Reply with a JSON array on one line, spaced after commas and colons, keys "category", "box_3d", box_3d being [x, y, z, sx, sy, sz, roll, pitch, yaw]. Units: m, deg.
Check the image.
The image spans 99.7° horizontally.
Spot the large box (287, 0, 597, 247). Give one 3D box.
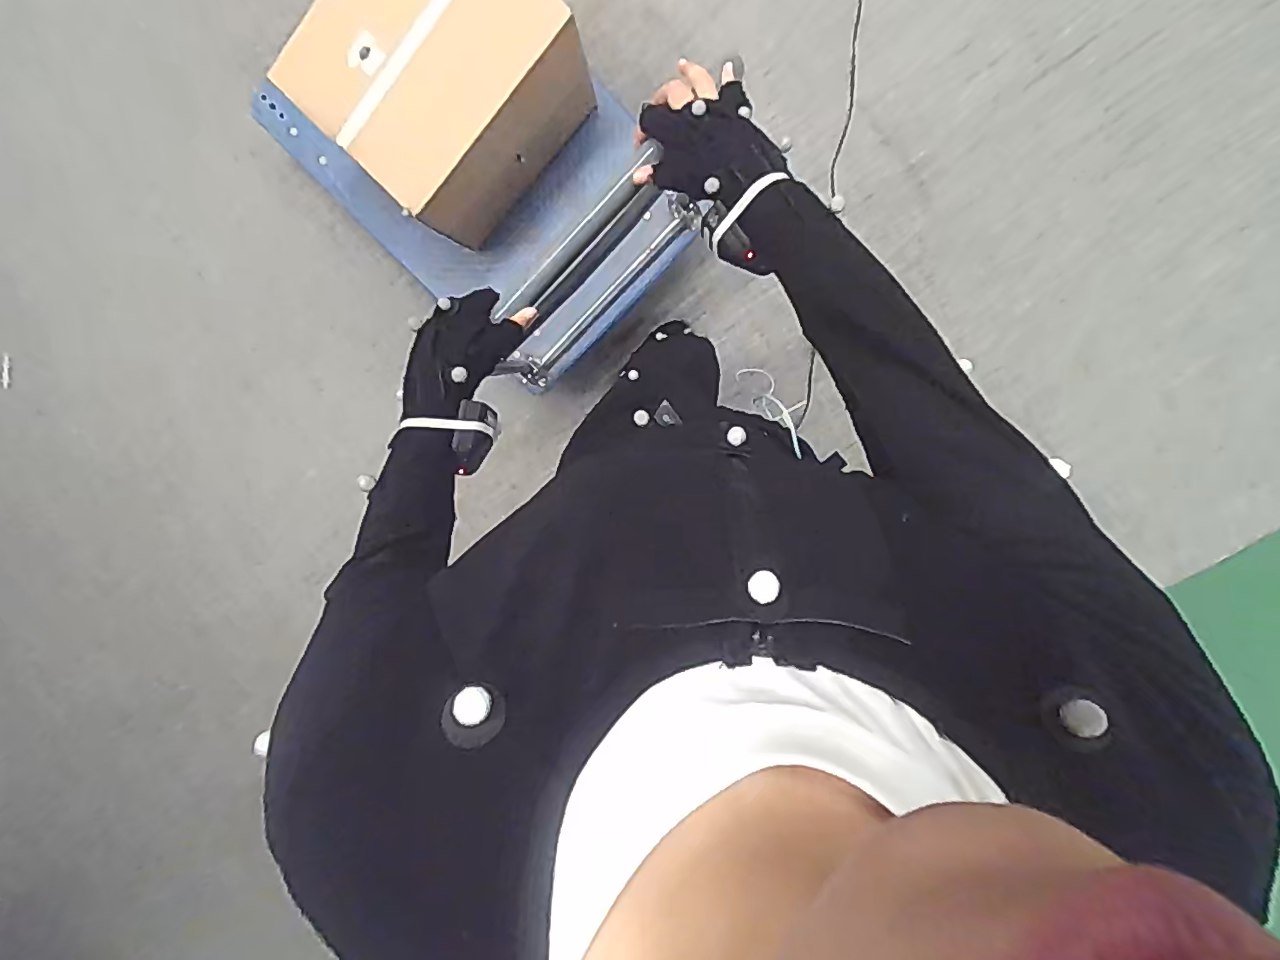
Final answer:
[{"category": "large box", "box_3d": [-0.336, -0.726, 1.016, 0.320, 0.320, 0.408, 43, 102, -6]}]
